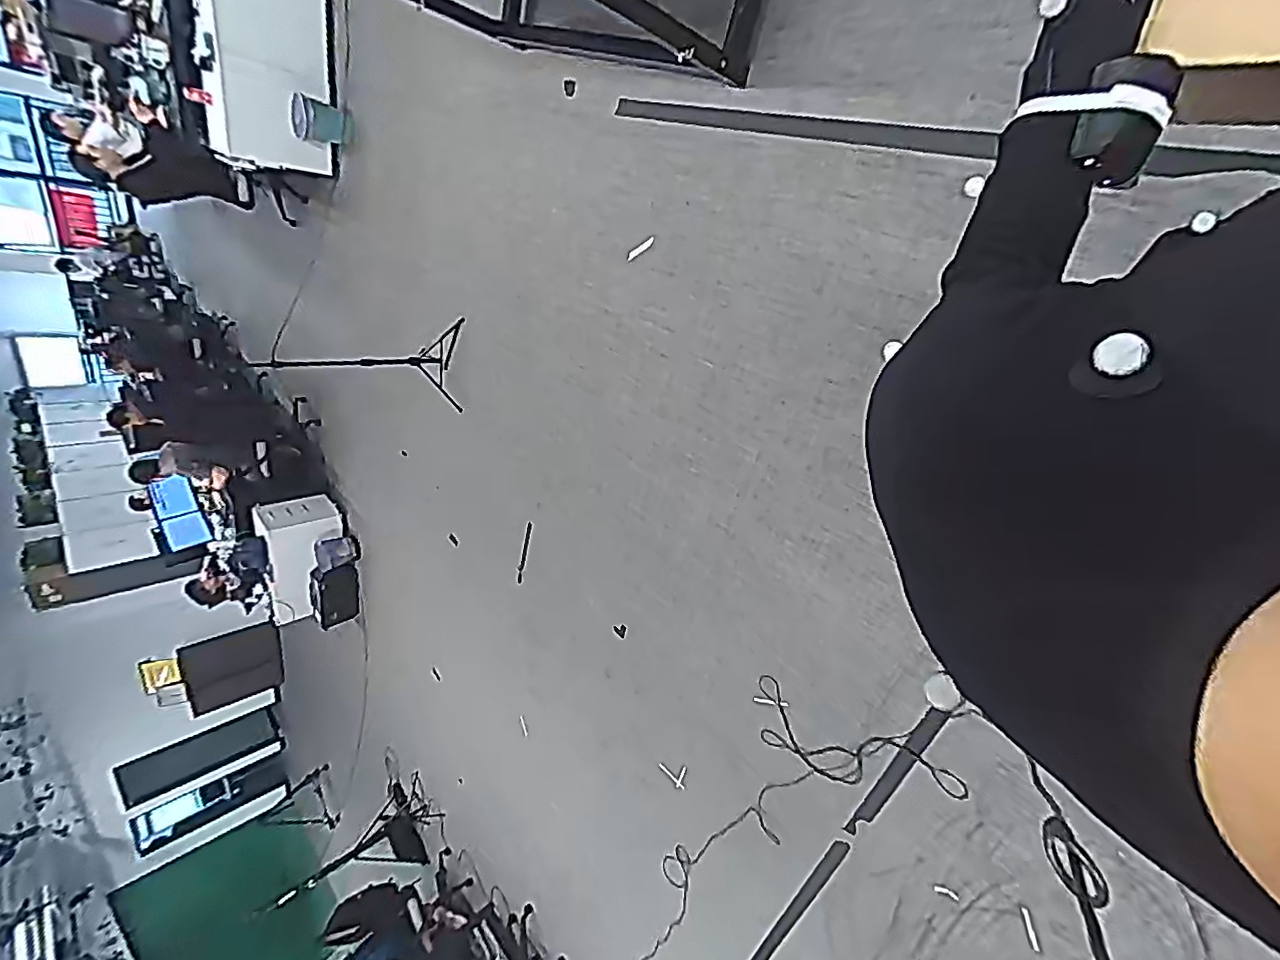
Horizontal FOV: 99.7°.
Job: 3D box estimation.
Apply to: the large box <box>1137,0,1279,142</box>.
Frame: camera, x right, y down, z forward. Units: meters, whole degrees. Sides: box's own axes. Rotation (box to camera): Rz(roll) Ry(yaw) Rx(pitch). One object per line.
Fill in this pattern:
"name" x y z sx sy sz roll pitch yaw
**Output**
"large box" 0.601 -0.389 0.300 0.408 0.320 0.320 26 126 34
